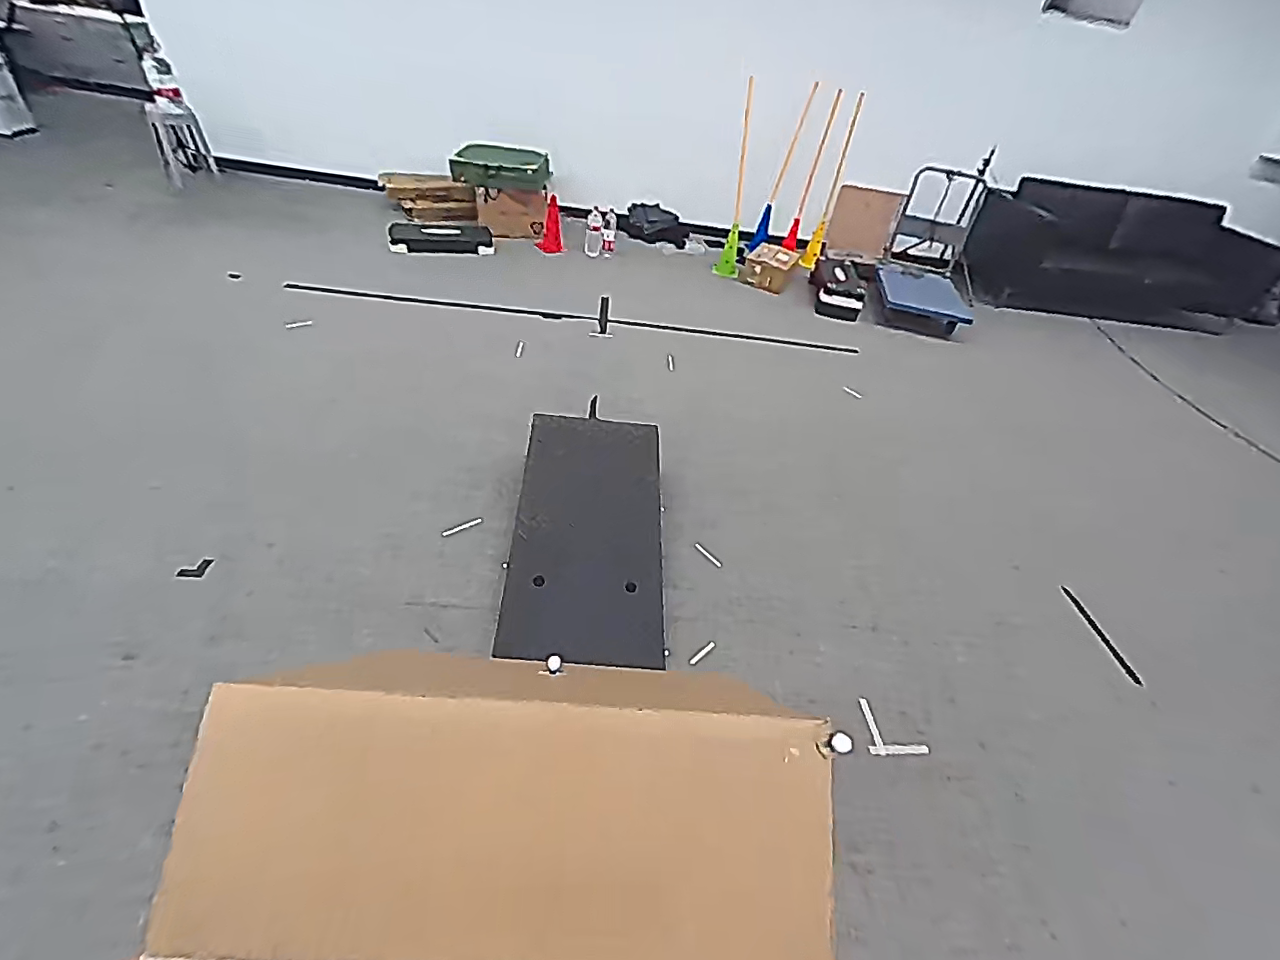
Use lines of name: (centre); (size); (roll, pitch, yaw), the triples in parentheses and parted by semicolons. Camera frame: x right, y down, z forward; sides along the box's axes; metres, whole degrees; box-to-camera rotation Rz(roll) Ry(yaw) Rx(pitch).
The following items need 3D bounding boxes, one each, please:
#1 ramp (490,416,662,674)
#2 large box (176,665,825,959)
ramp: (-0.175, 0.172, 1.817); (0.509, 0.206, 0.991); (5, 42, -9)
large box: (-0.092, 0.340, 0.474); (0.408, 0.320, 0.320); (4, 77, -3)
